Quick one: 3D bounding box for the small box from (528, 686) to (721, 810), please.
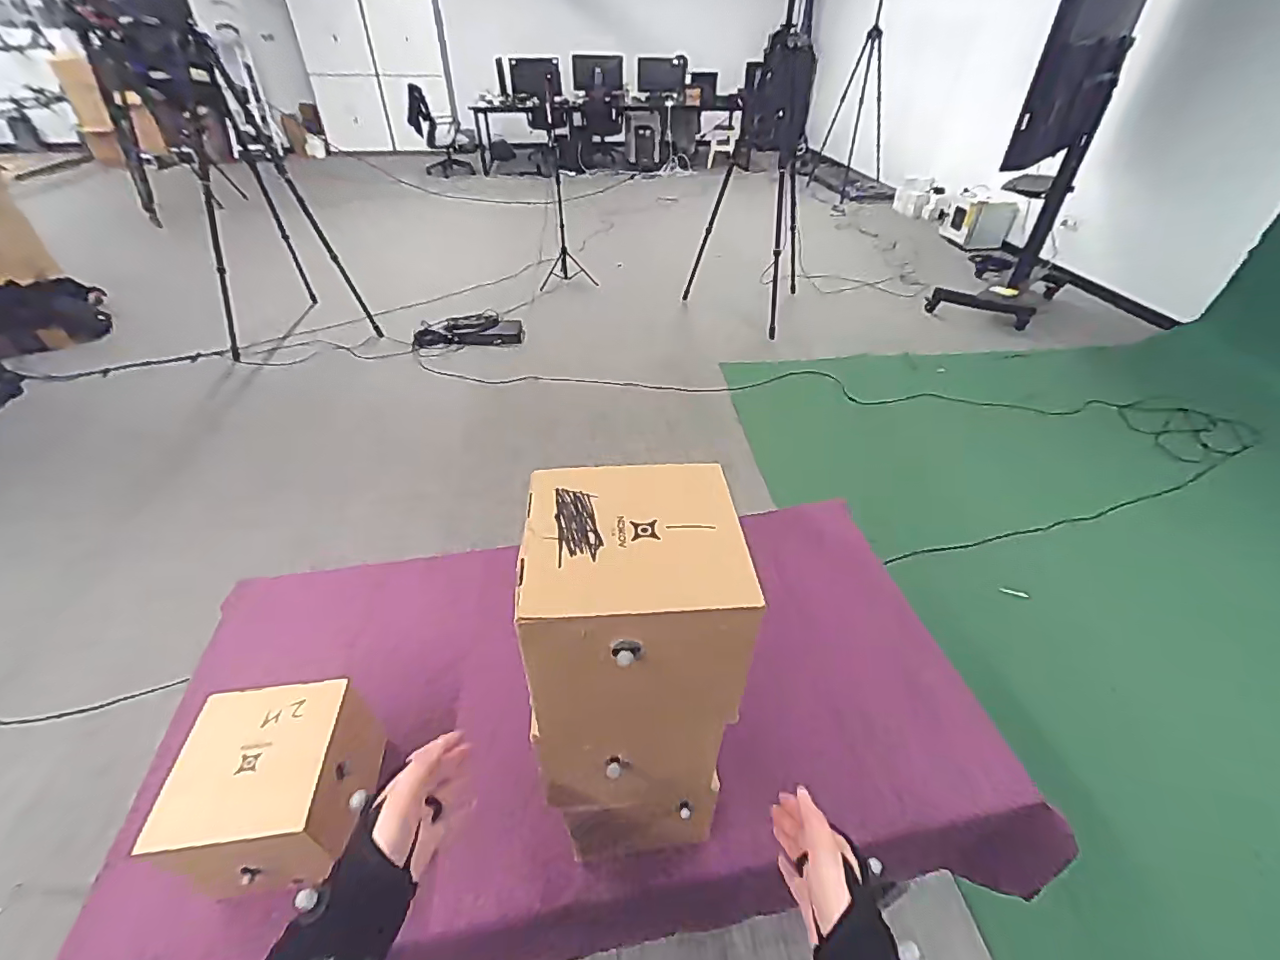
[{"bbox_3d":[-0.016,0.233,0.583,0.179,0.176,0.168,-3,40,-3],"label":"small box"}]

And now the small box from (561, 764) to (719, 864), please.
[{"bbox_3d":[-0.008,0.360,0.689,0.179,0.176,0.168,-5,40,-7],"label":"small box"}]

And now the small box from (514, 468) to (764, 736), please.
[{"bbox_3d":[-0.005,0.107,0.478,0.179,0.176,0.168,-2,40,-4],"label":"small box"}]

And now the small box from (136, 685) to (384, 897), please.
[{"bbox_3d":[-0.434,0.381,0.661,0.168,0.176,0.179,-4,40,-6],"label":"small box"}]
